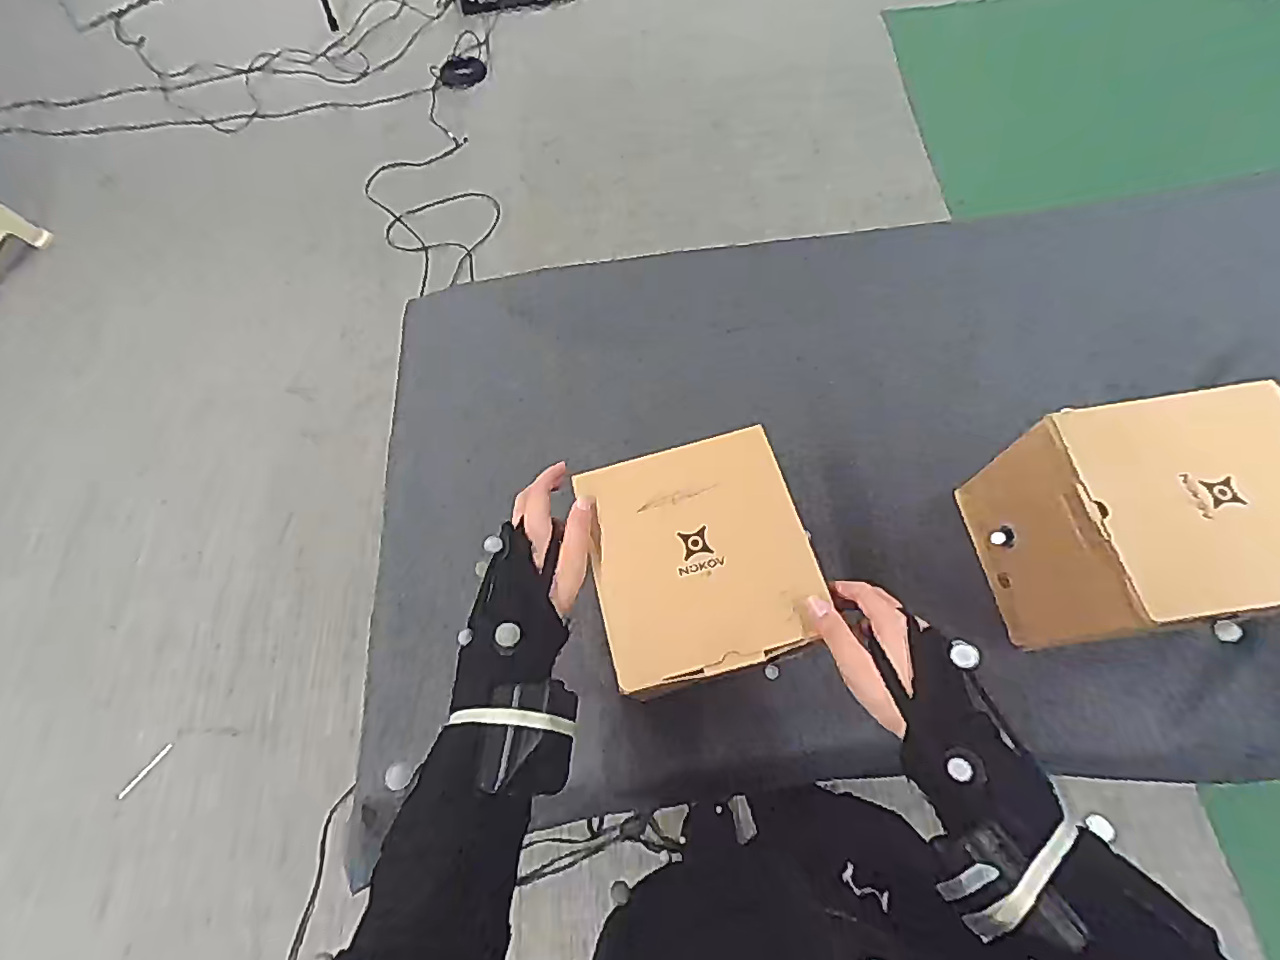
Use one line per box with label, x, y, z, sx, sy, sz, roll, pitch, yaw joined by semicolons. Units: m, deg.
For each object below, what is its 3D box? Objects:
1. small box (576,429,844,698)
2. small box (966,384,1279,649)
small box;0.053;0.085;0.482;0.168;0.176;0.179;-15;65;-2
small box;0.425;0.043;0.461;0.179;0.176;0.168;-9;66;3
